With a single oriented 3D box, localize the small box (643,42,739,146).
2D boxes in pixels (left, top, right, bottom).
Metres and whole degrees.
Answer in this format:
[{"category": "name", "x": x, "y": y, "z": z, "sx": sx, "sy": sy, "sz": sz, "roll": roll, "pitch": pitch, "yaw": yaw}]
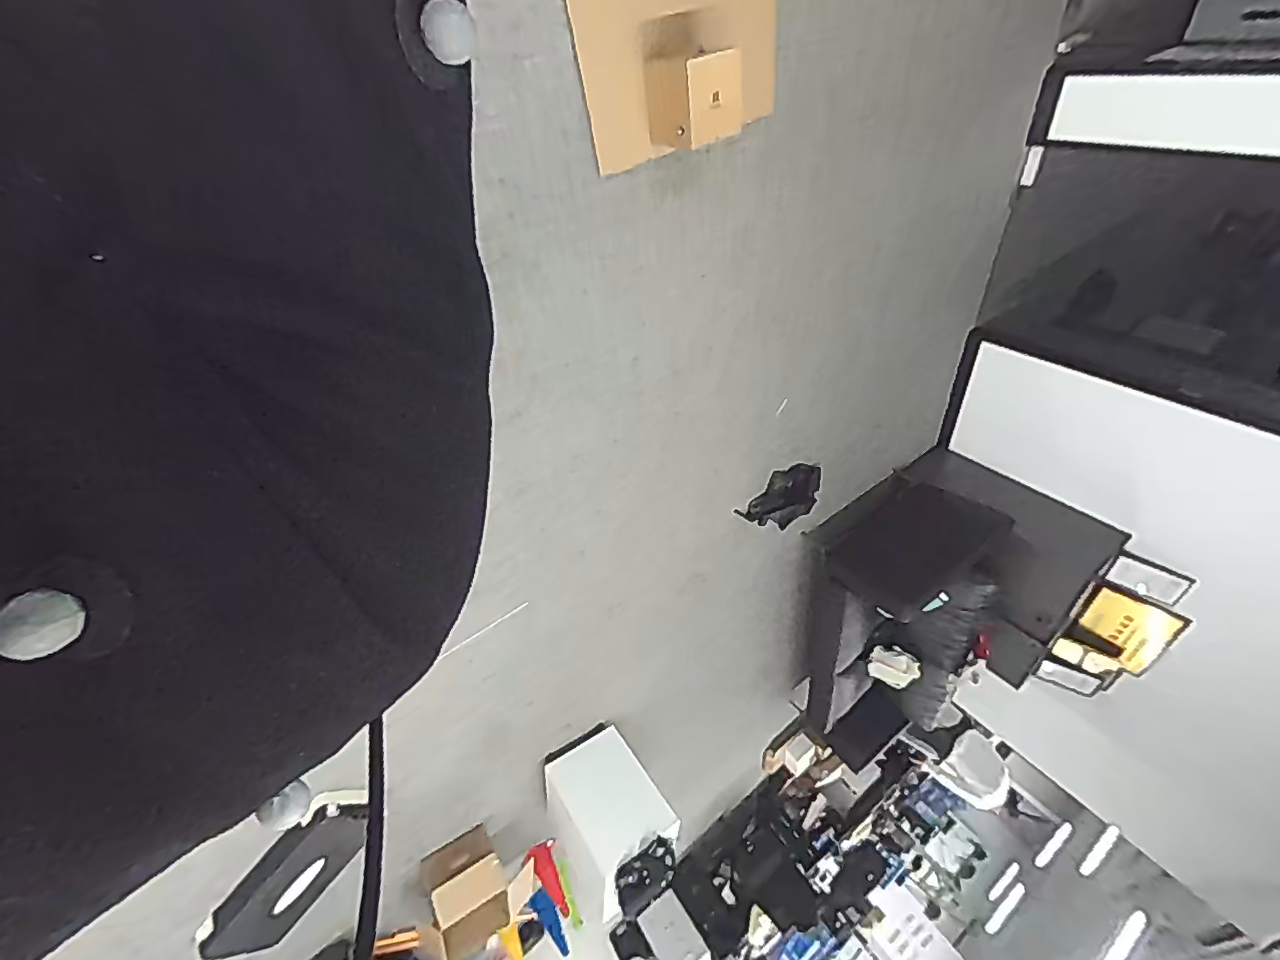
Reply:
[{"category": "small box", "x": 0.121, "y": -0.934, "z": 1.309, "sx": 0.168, "sy": 0.176, "sz": 0.179, "roll": -31, "pitch": 137, "yaw": -21}]
